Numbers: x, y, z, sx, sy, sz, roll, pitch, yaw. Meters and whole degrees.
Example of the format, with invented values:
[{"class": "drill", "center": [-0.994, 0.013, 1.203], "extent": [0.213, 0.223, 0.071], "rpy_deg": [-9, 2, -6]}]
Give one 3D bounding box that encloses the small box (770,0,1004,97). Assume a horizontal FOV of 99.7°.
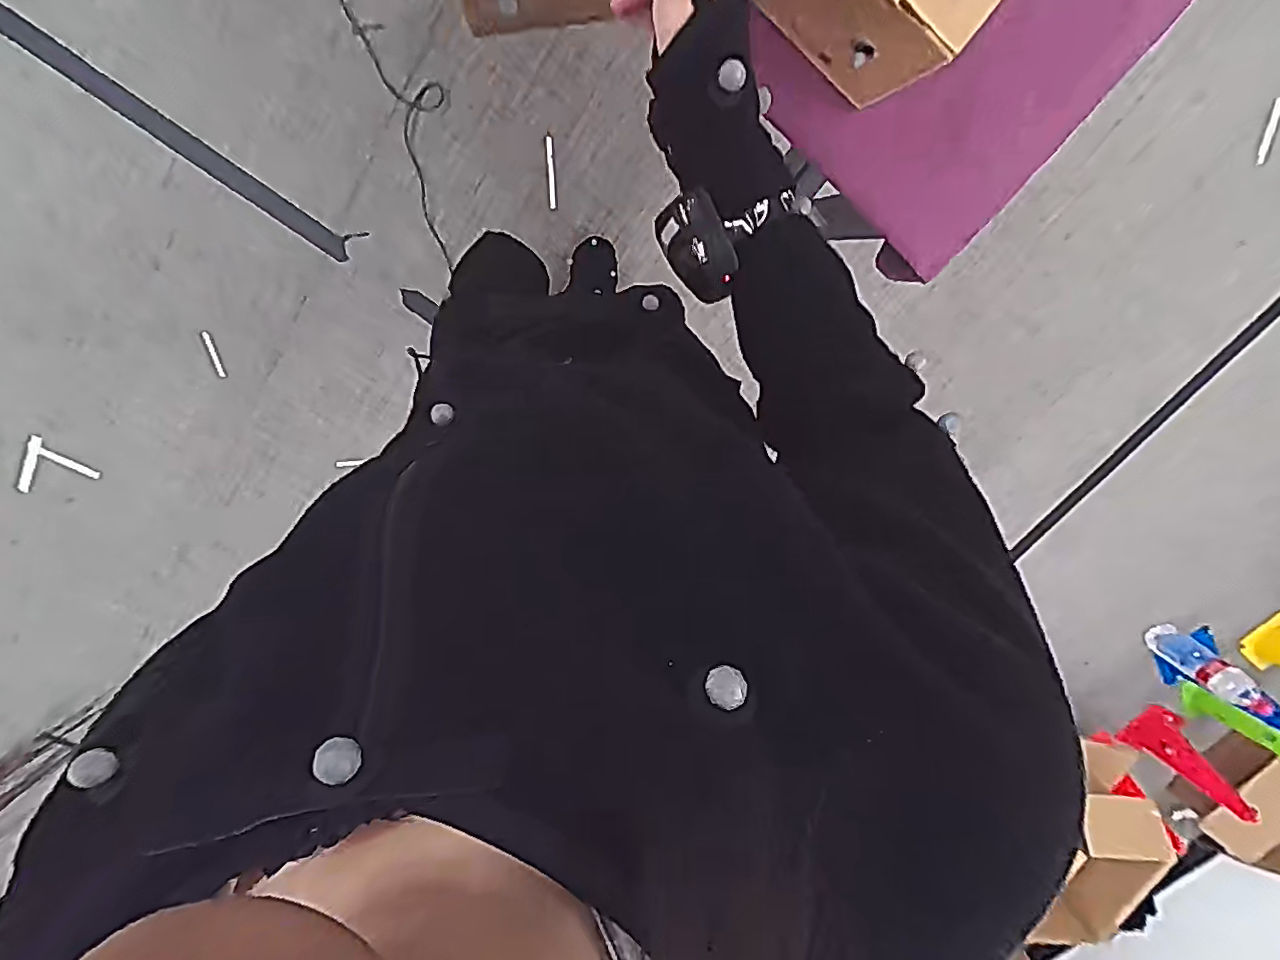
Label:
[{"class": "small box", "center": [0.214, -0.448, 0.423], "extent": [0.168, 0.176, 0.179], "rpy_deg": [32, 107, -18]}]
